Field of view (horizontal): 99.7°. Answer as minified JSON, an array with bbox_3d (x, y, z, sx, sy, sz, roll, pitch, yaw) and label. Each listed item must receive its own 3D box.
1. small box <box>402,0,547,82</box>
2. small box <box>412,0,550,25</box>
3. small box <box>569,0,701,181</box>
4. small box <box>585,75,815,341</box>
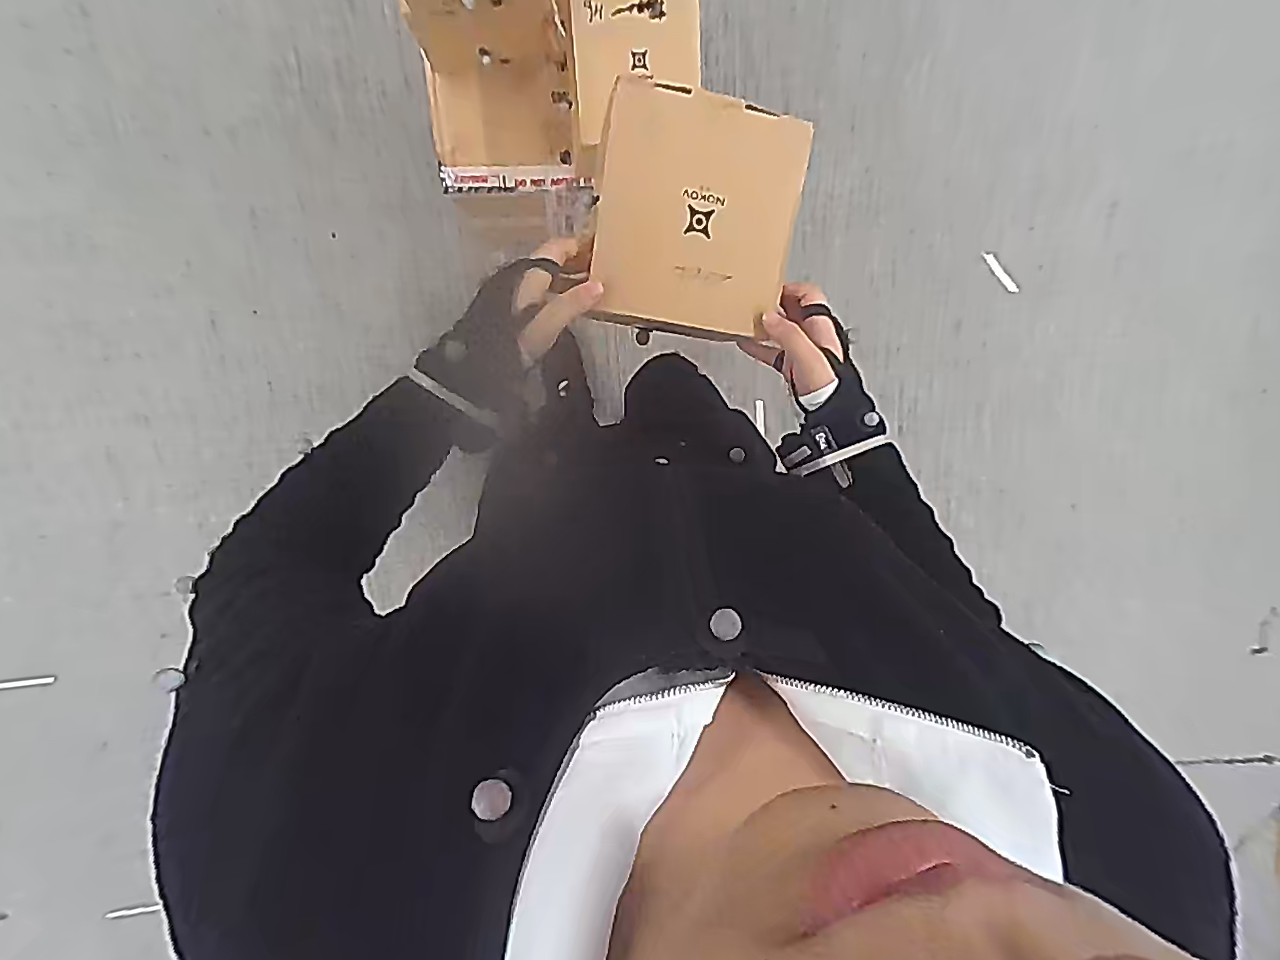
[{"bbox_3d":[-0.220,-0.663,0.710,0.168,0.176,0.179,-8,108,-3],"label":"small box"},{"bbox_3d":[-0.186,-0.615,0.556,0.168,0.176,0.179,-5,108,-5],"label":"small box"},{"bbox_3d":[-0.012,-0.539,0.773,0.168,0.176,0.179,-6,107,-8],"label":"small box"},{"bbox_3d":[0.039,-0.234,0.517,0.168,0.176,0.179,7,104,-9],"label":"small box"}]
